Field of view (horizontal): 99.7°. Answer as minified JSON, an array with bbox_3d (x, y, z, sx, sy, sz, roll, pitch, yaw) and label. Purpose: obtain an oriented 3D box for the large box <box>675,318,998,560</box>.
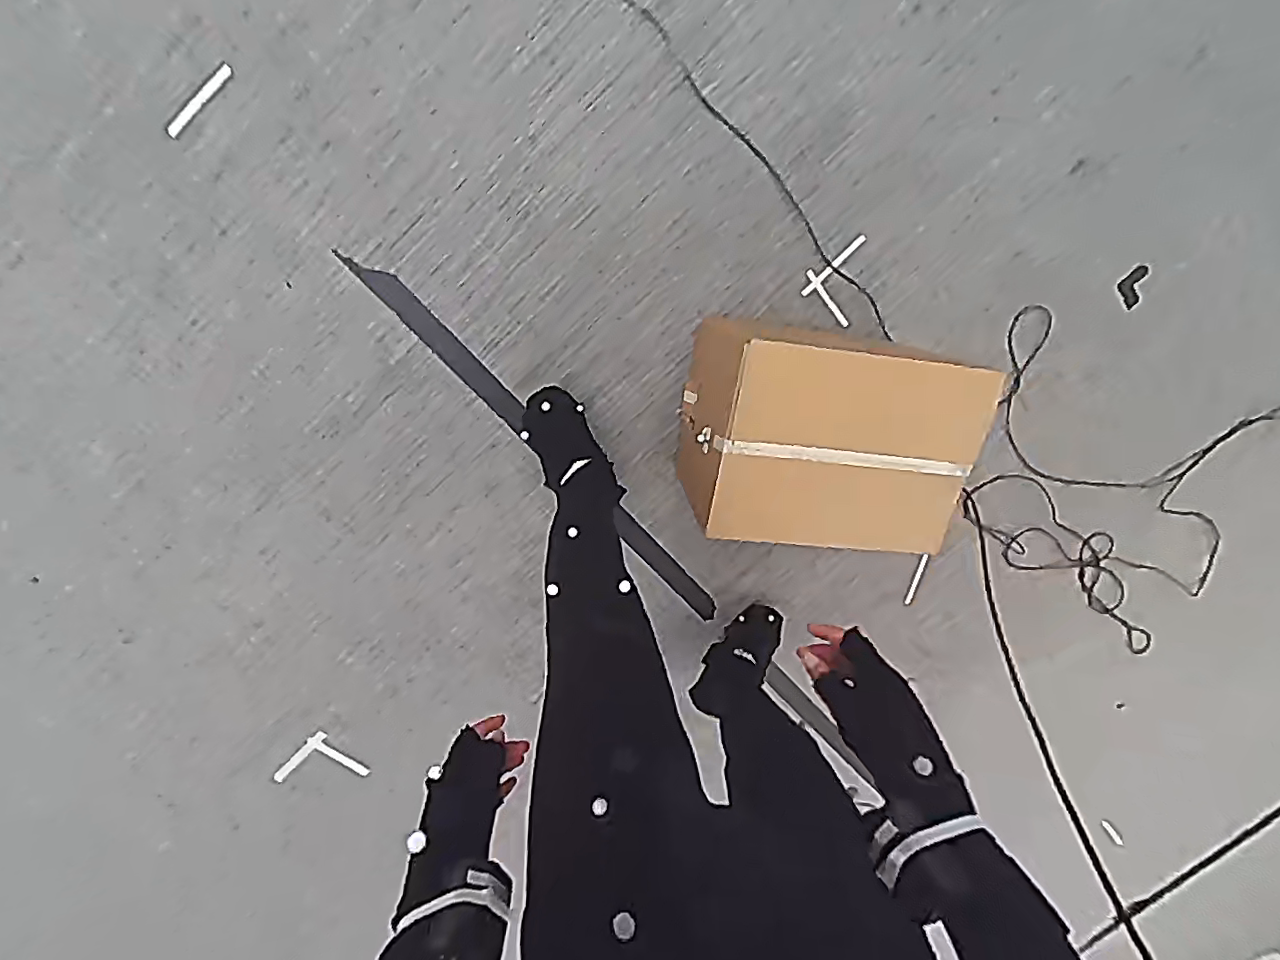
[{"bbox_3d":[0.300,-0.082,0.956,0.408,0.320,0.320,7,114,-7],"label":"large box"}]
